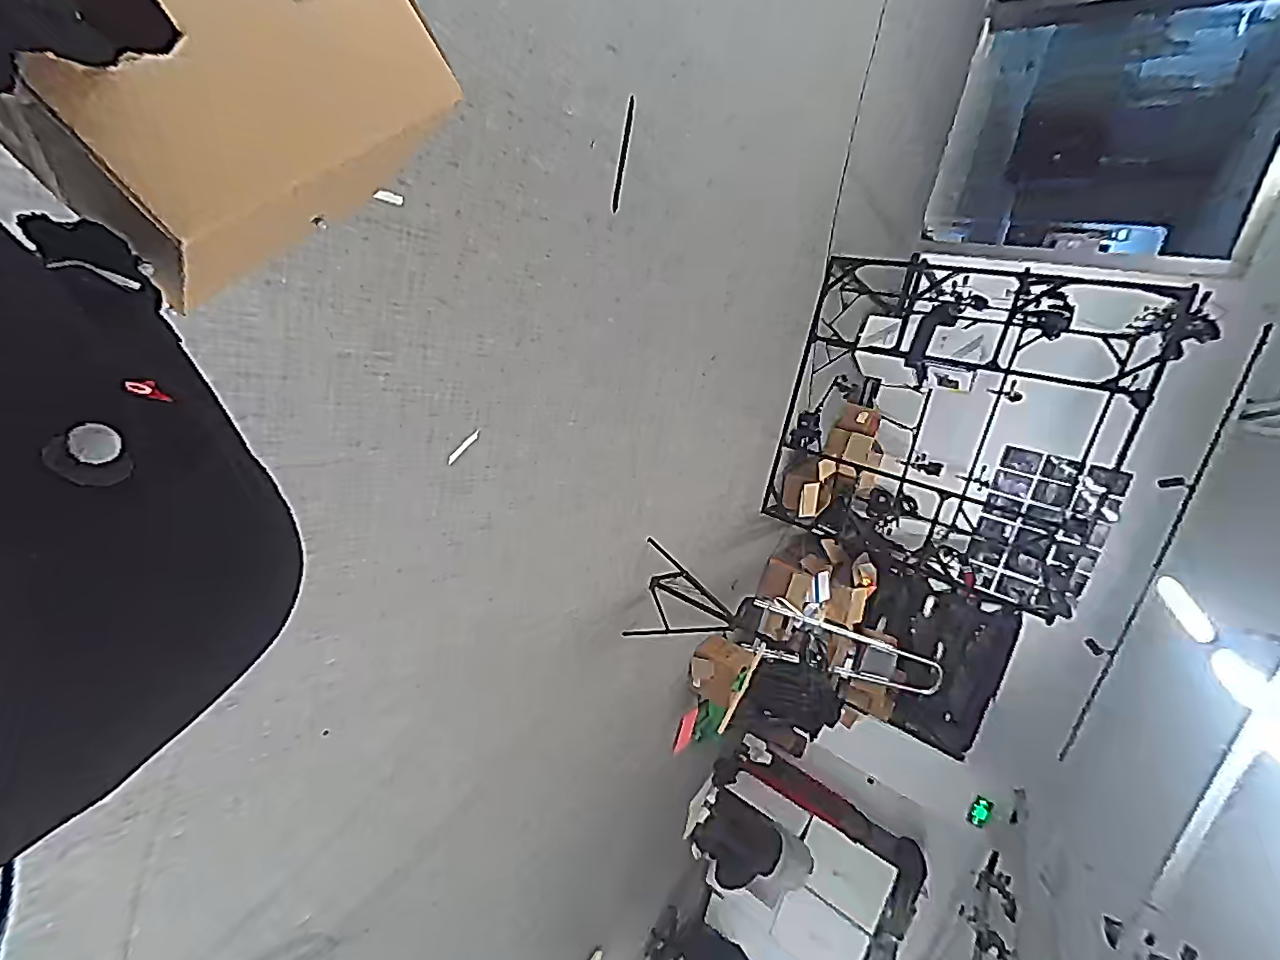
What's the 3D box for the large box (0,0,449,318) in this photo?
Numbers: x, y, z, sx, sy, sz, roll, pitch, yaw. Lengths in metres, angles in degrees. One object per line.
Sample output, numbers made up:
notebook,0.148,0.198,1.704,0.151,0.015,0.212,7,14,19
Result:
large box,-0.477,-0.419,0.580,0.320,0.408,0.320,-49,122,-24
